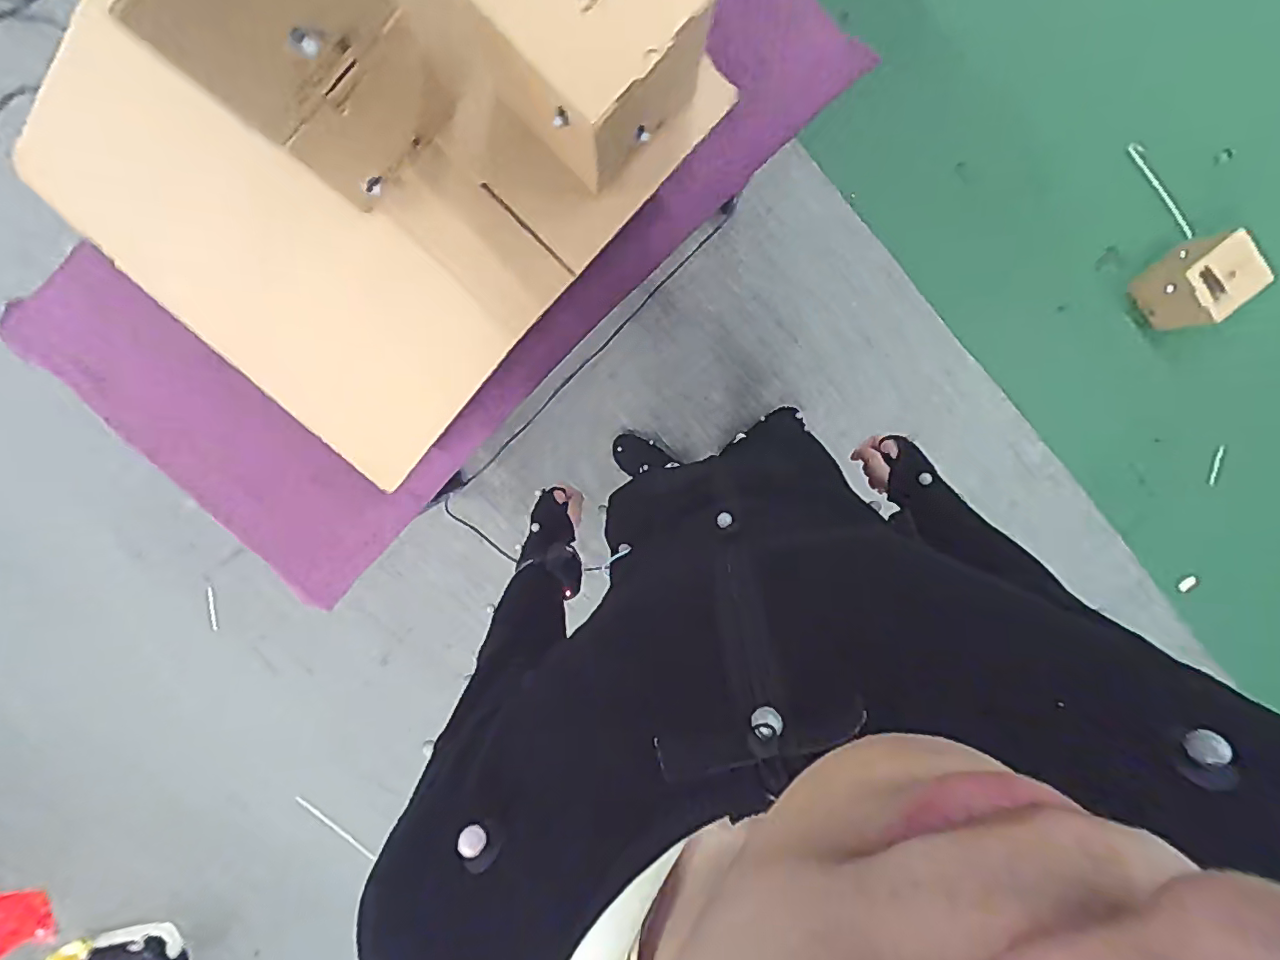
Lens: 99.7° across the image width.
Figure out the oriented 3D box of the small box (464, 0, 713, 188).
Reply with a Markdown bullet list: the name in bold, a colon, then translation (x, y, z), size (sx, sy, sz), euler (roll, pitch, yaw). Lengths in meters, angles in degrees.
- **small box**: translation (-0.053, -0.446, 0.556), size (0.179, 0.176, 0.168), euler (43, 94, -8)

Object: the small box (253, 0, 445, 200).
- **small box**: translation (-0.331, -0.418, 0.546), size (0.179, 0.176, 0.168), euler (43, 93, -6)

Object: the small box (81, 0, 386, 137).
- **small box**: translation (-0.326, -0.397, 0.383), size (0.179, 0.176, 0.168), euler (43, 94, -8)
